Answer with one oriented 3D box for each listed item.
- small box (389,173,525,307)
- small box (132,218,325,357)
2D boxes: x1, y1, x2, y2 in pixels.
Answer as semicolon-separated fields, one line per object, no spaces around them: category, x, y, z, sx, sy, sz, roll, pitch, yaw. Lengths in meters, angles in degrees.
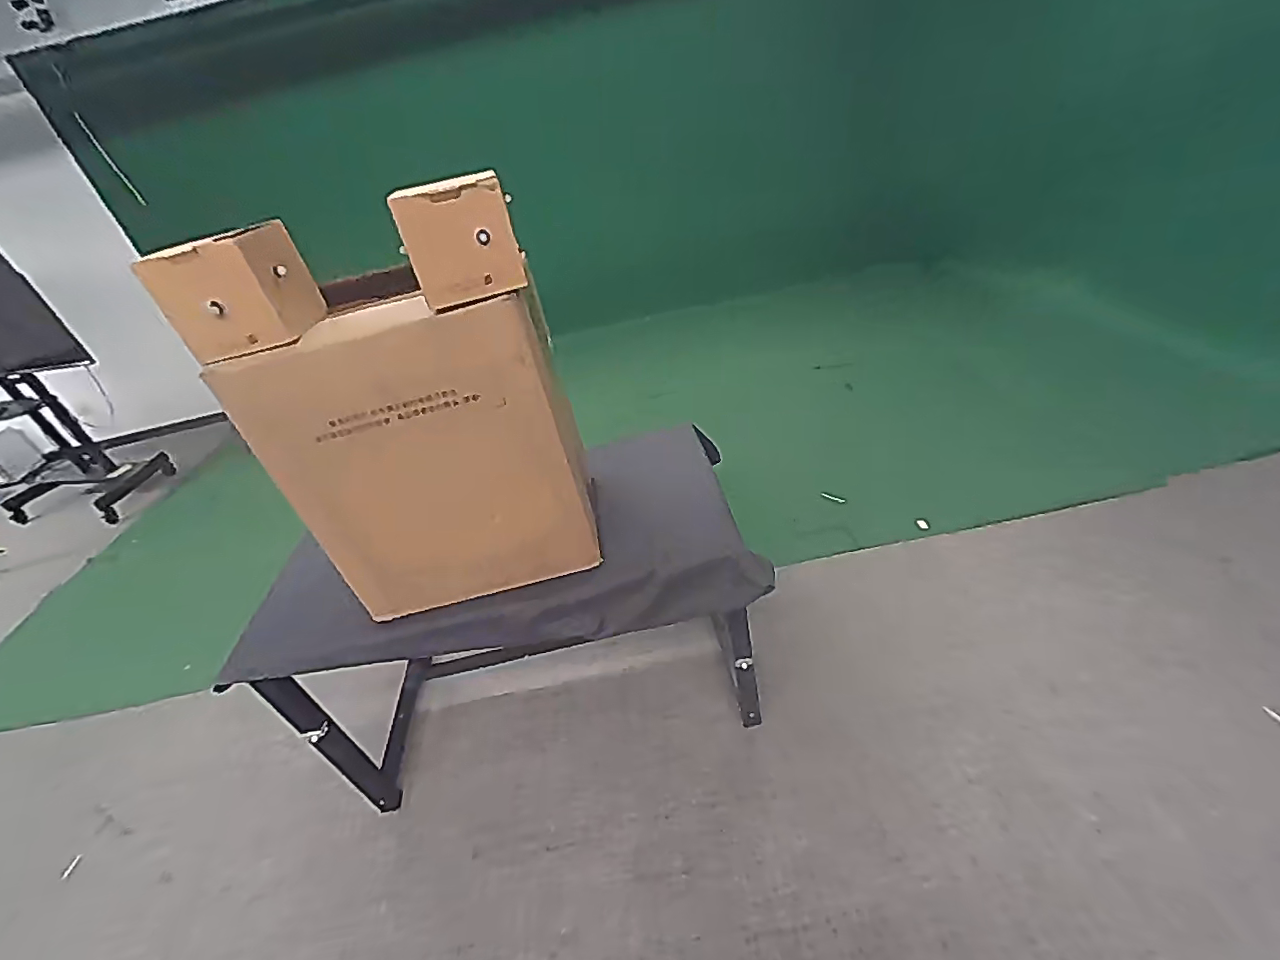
small box;-0.299;-0.403;0.911;0.168;0.176;0.179;-16;34;-8
small box;-0.676;-0.323;0.919;0.168;0.176;0.179;-14;35;0
